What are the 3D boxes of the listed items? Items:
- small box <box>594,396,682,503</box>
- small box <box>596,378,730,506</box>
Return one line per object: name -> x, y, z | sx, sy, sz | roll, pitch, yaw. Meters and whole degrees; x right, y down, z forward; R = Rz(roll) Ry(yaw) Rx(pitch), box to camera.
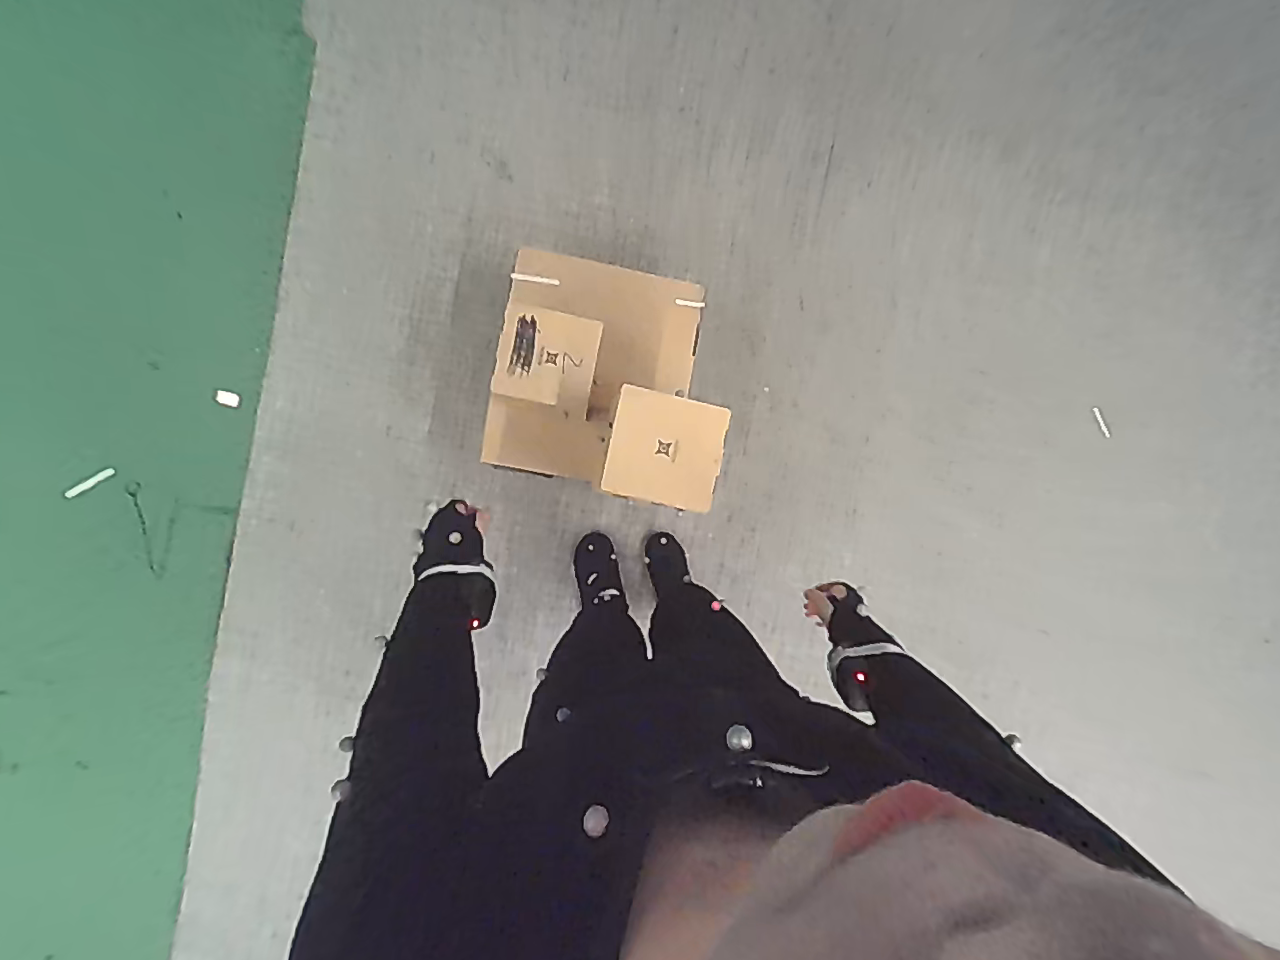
small box -> 0.005, -0.059, 1.057 | 0.168, 0.176, 0.179 | 11, 90, -7
small box -> 0.028, -0.057, 0.895 | 0.179, 0.176, 0.168 | 12, 90, -8
